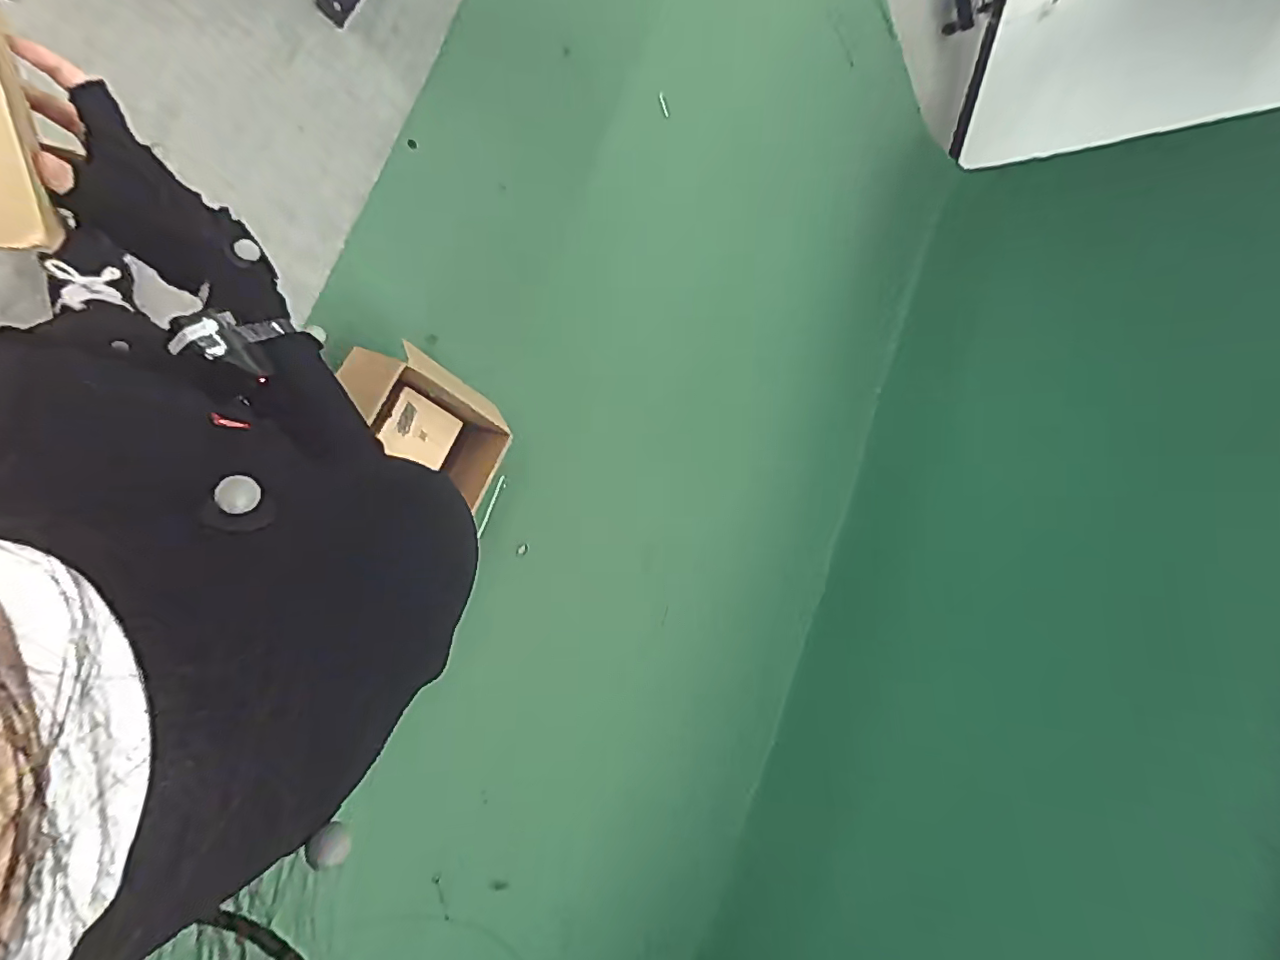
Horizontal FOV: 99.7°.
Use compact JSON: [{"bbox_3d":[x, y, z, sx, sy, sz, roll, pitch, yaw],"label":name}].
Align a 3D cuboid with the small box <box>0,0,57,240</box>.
[{"bbox_3d":[-0.426,-0.222,0.262,0.168,0.176,0.179,-14,120,-40],"label":"small box"}]
